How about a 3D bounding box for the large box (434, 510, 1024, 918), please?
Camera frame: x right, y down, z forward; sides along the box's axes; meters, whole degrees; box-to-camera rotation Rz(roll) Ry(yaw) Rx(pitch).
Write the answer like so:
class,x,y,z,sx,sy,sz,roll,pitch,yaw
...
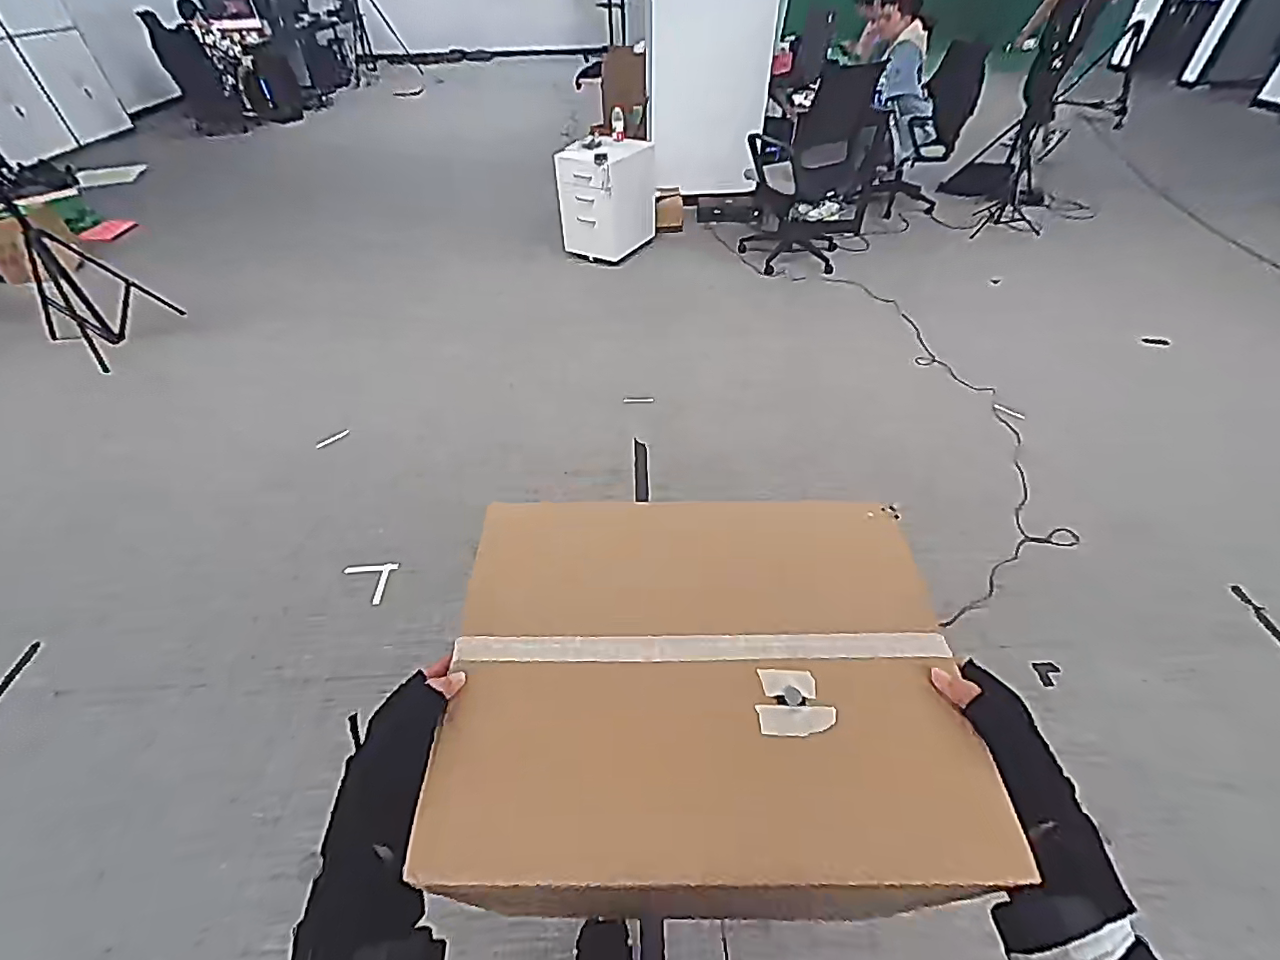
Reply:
class,x,y,z,sx,sy,sz,roll,pitch,yaw
large box,0.057,0.247,0.566,0.408,0.320,0.320,0,49,0
